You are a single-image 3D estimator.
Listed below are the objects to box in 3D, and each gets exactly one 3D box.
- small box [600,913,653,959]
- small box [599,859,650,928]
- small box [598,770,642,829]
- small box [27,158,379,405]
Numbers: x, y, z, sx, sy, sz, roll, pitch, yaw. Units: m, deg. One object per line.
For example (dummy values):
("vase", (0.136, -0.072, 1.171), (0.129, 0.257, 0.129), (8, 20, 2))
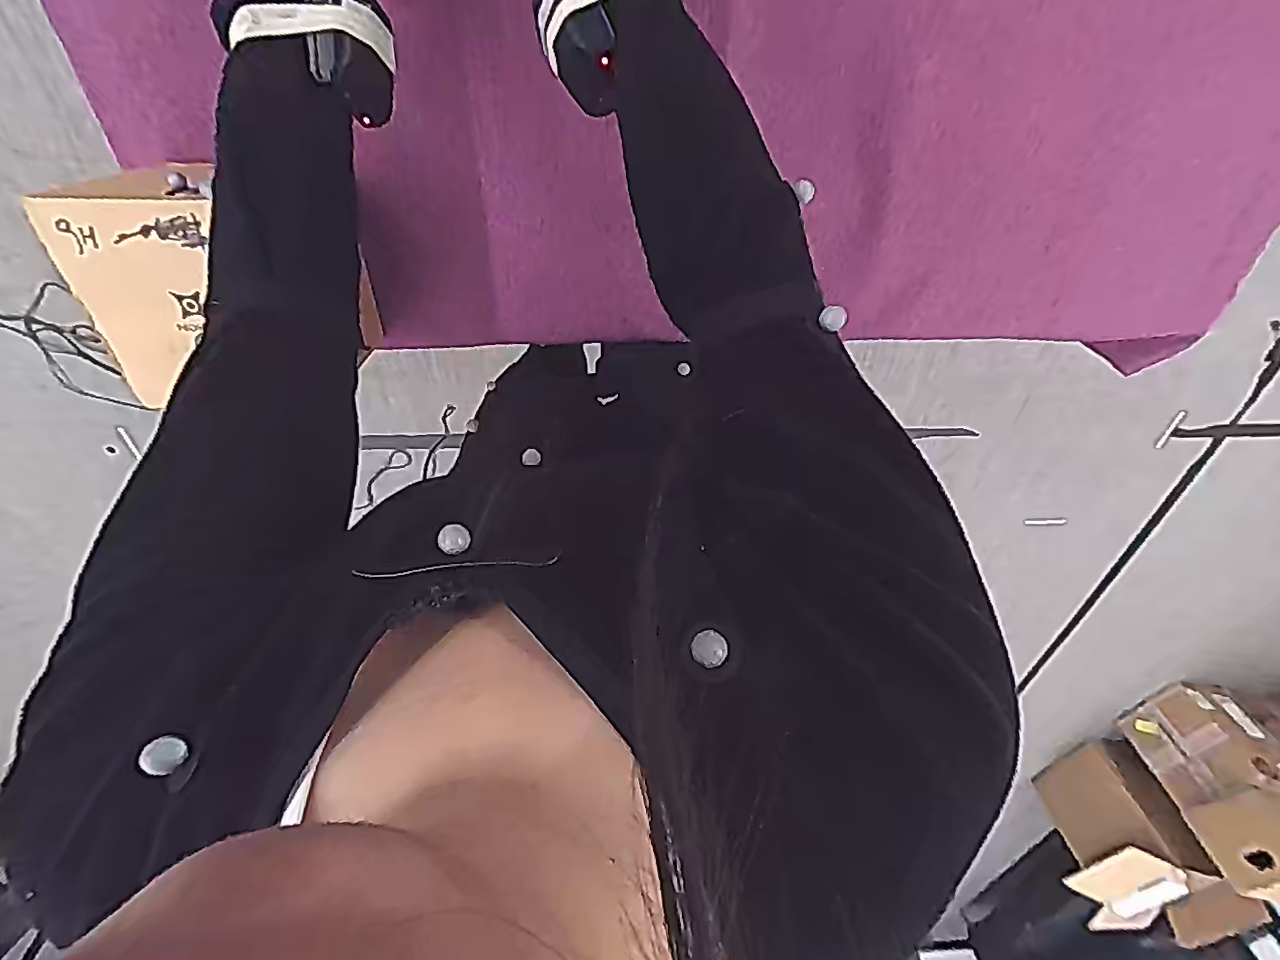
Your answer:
("small box", (-0.051, 1.644, 1.892), (0.179, 0.176, 0.168), (1, 127, -6))
("small box", (-0.062, 1.544, 2.019), (0.179, 0.176, 0.168), (1, 128, -5))
("small box", (-0.085, 1.341, 2.277), (0.179, 0.176, 0.168), (-2, 127, -2))
("small box", (-0.371, -0.188, 0.510), (0.168, 0.176, 0.179), (-1, 128, -4))
